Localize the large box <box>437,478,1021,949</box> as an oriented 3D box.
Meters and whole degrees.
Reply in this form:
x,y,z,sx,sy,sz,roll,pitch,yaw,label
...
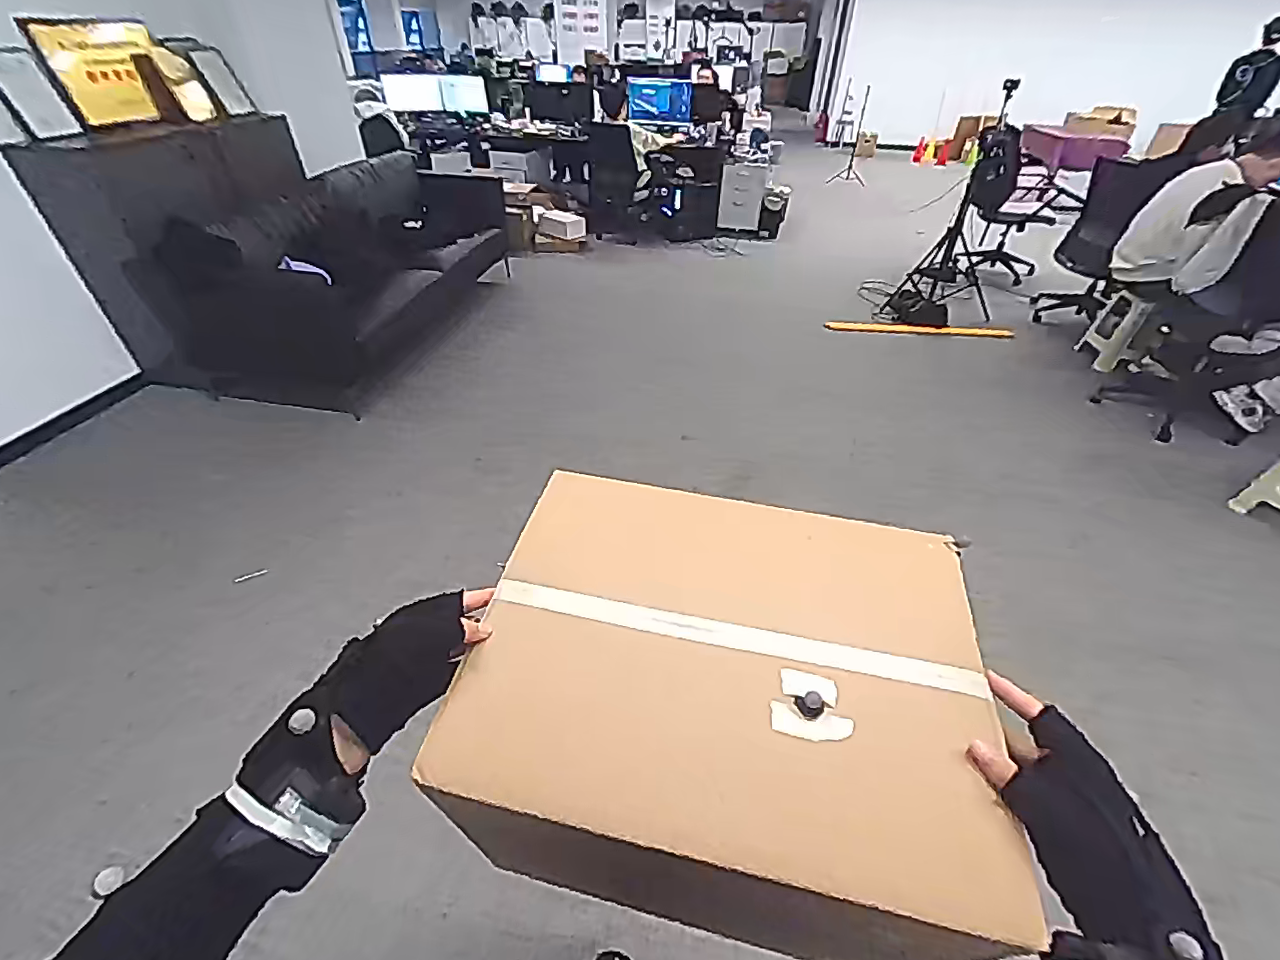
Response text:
x,y,z,sx,sy,sz,roll,pitch,yaw,label
0.073,0.234,0.569,0.408,0.320,0.320,9,47,9,large box
